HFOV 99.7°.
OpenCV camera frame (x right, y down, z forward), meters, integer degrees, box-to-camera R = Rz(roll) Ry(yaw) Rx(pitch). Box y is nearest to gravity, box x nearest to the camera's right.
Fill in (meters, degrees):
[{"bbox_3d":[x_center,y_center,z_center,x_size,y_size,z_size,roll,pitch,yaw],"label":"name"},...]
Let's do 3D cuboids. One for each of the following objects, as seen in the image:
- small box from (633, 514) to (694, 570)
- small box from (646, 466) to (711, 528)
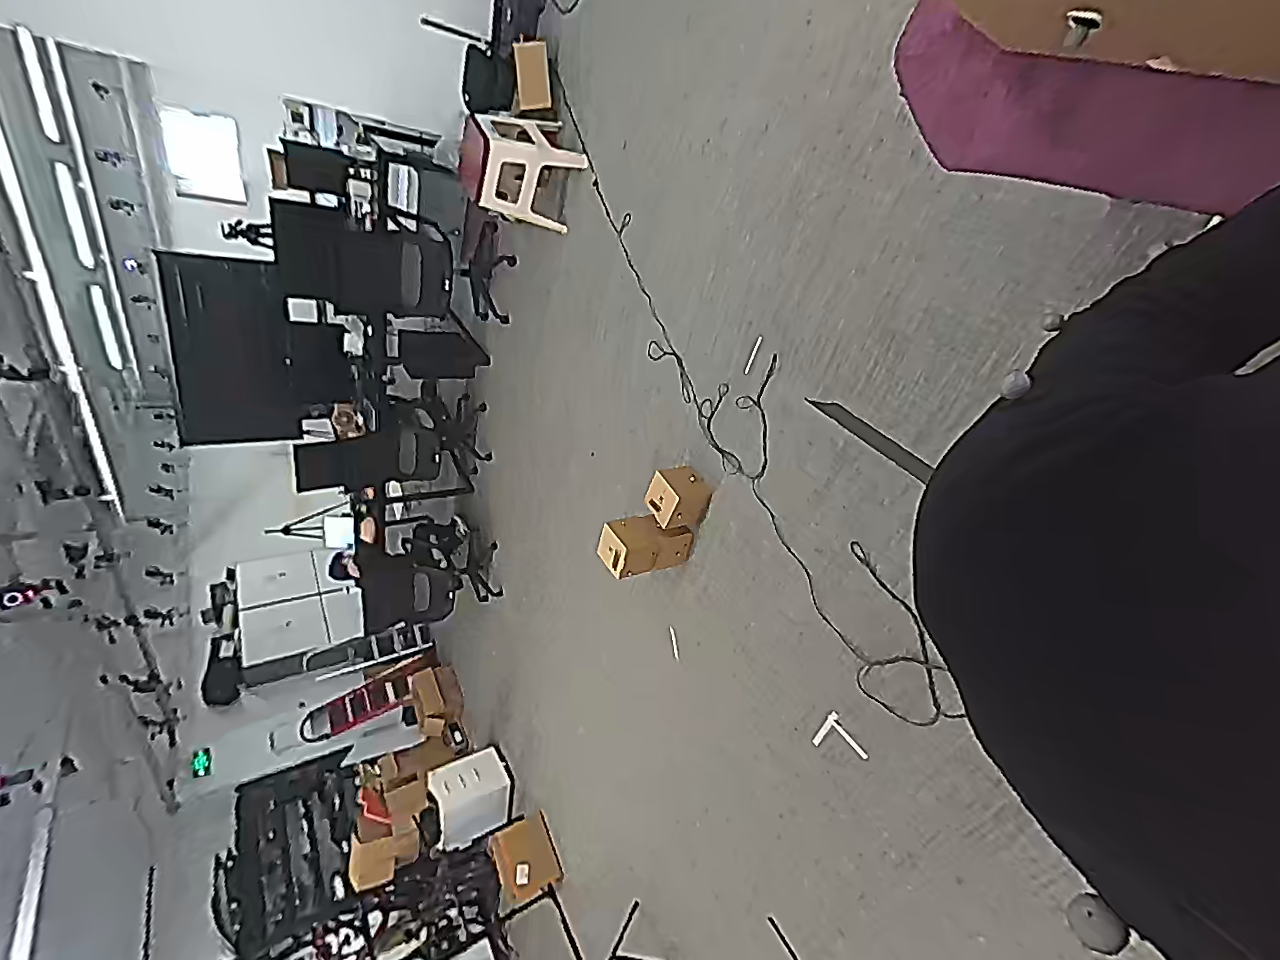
[{"bbox_3d":[0.100,0.252,2.273,0.179,0.176,0.168,41,130,43],"label":"small box"},{"bbox_3d":[0.155,0.065,2.144,0.168,0.176,0.179,53,137,34],"label":"small box"}]
